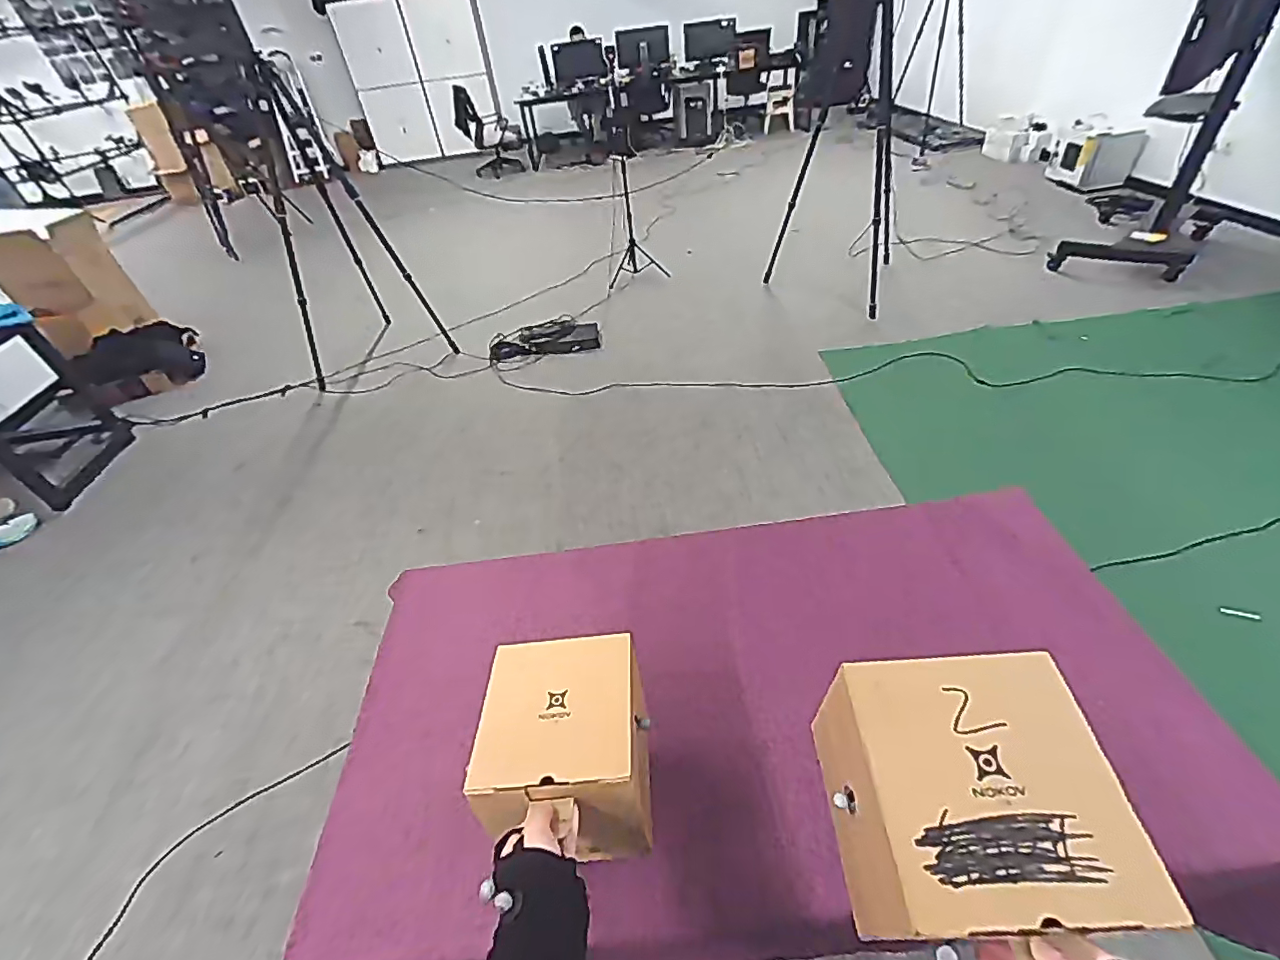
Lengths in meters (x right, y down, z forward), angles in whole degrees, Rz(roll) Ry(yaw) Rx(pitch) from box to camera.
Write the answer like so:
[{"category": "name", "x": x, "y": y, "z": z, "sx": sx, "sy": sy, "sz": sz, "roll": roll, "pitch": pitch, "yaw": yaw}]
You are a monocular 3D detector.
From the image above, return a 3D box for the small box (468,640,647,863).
[{"category": "small box", "x": -0.083, "y": 0.320, "z": 0.645, "sx": 0.168, "sy": 0.176, "sz": 0.179, "roll": -7, "pitch": 35, "yaw": 3}]
